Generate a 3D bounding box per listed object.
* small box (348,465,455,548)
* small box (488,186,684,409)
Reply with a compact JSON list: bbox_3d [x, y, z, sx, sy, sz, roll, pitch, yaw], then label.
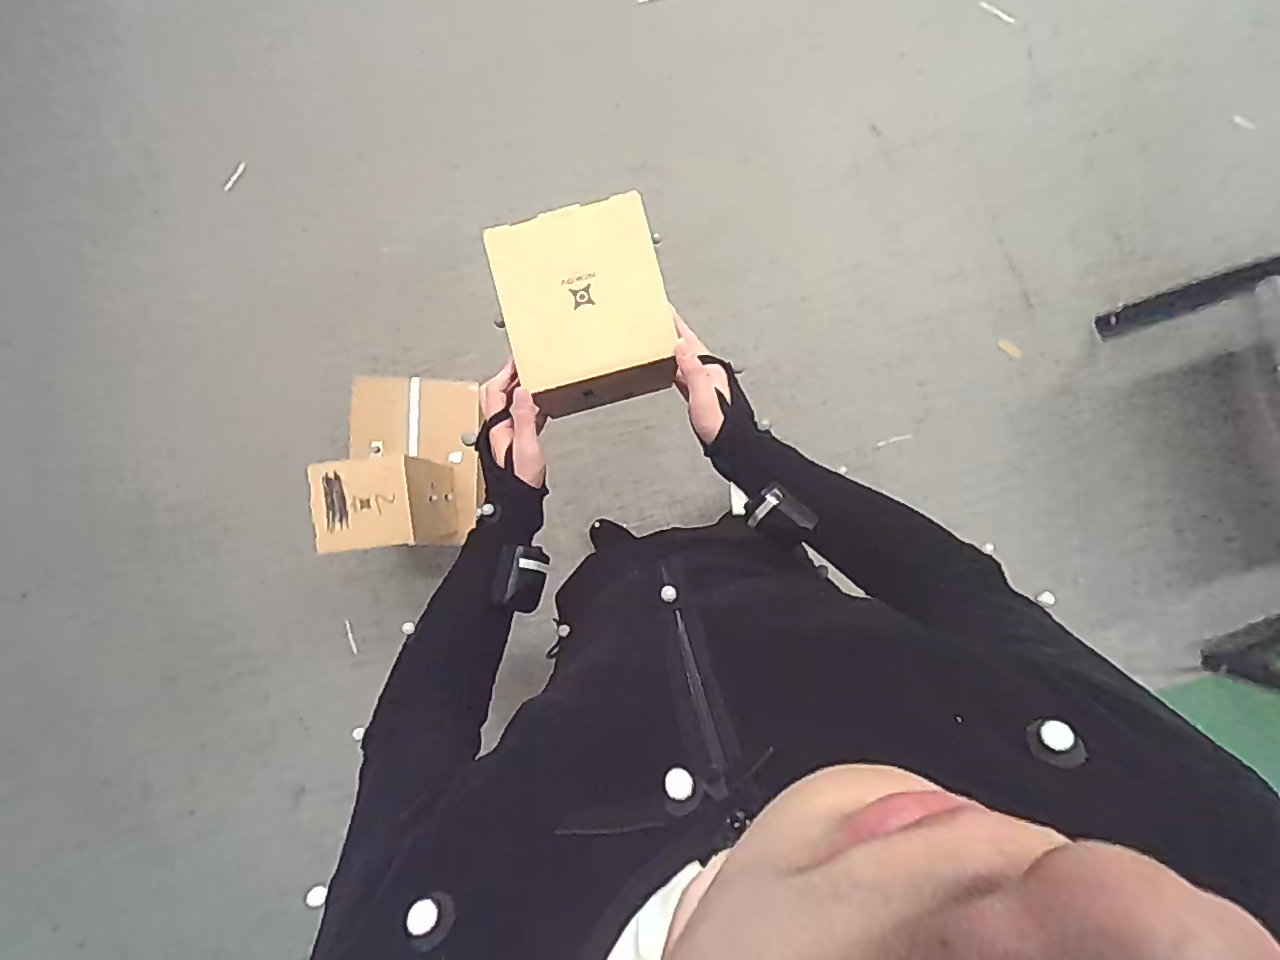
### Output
[{"bbox_3d":[-0.528,0.056,1.220,0.179,0.176,0.168,-6,89,-4],"label":"small box"},{"bbox_3d":[-0.051,-0.187,0.614,0.168,0.176,0.179,-14,87,0],"label":"small box"}]
